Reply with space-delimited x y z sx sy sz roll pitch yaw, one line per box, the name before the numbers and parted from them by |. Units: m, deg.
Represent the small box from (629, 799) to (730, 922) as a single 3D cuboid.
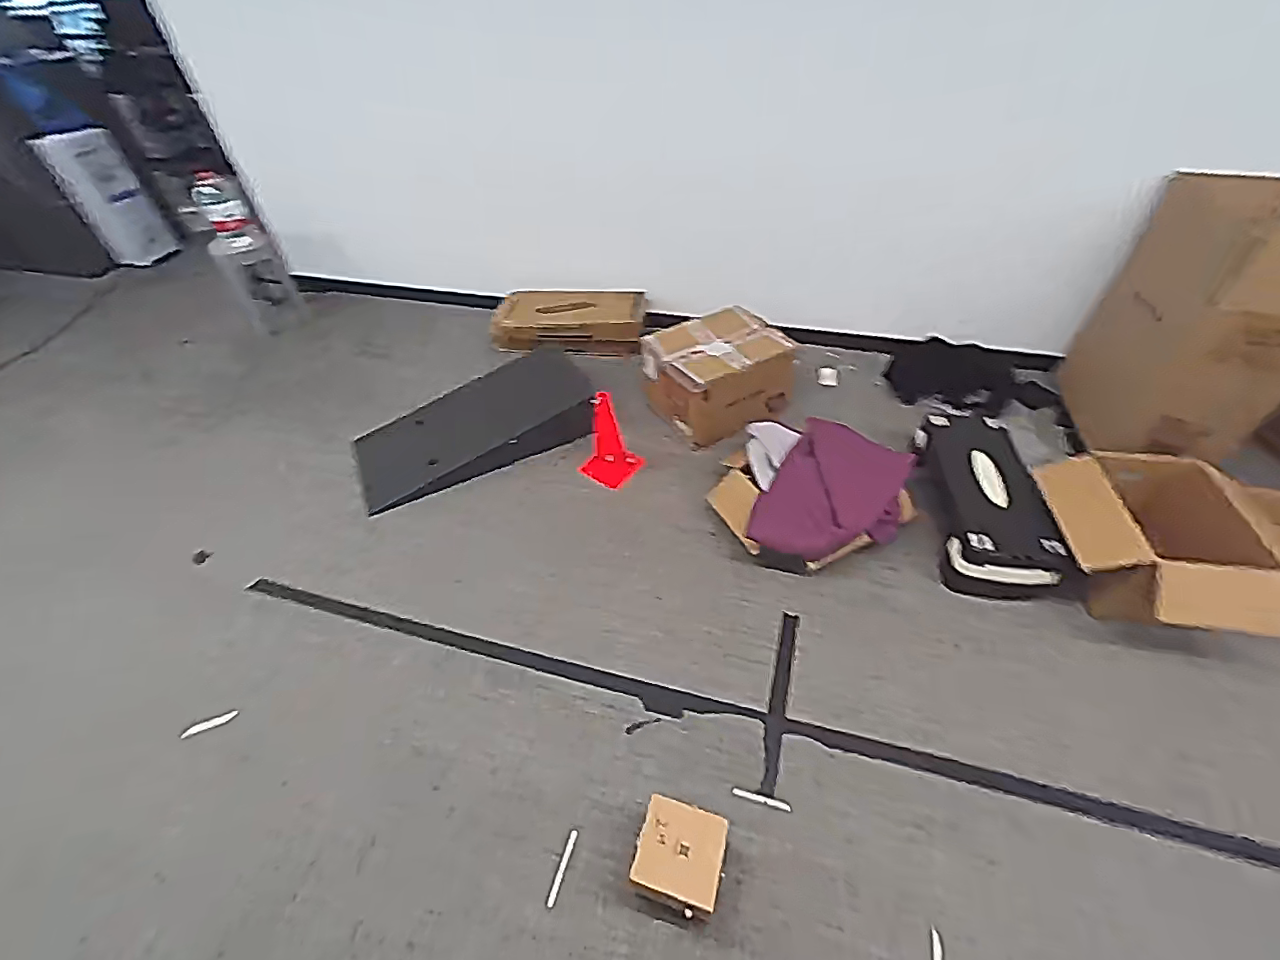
small box | 0.089 0.833 1.180 0.179 0.176 0.168 11 47 15
